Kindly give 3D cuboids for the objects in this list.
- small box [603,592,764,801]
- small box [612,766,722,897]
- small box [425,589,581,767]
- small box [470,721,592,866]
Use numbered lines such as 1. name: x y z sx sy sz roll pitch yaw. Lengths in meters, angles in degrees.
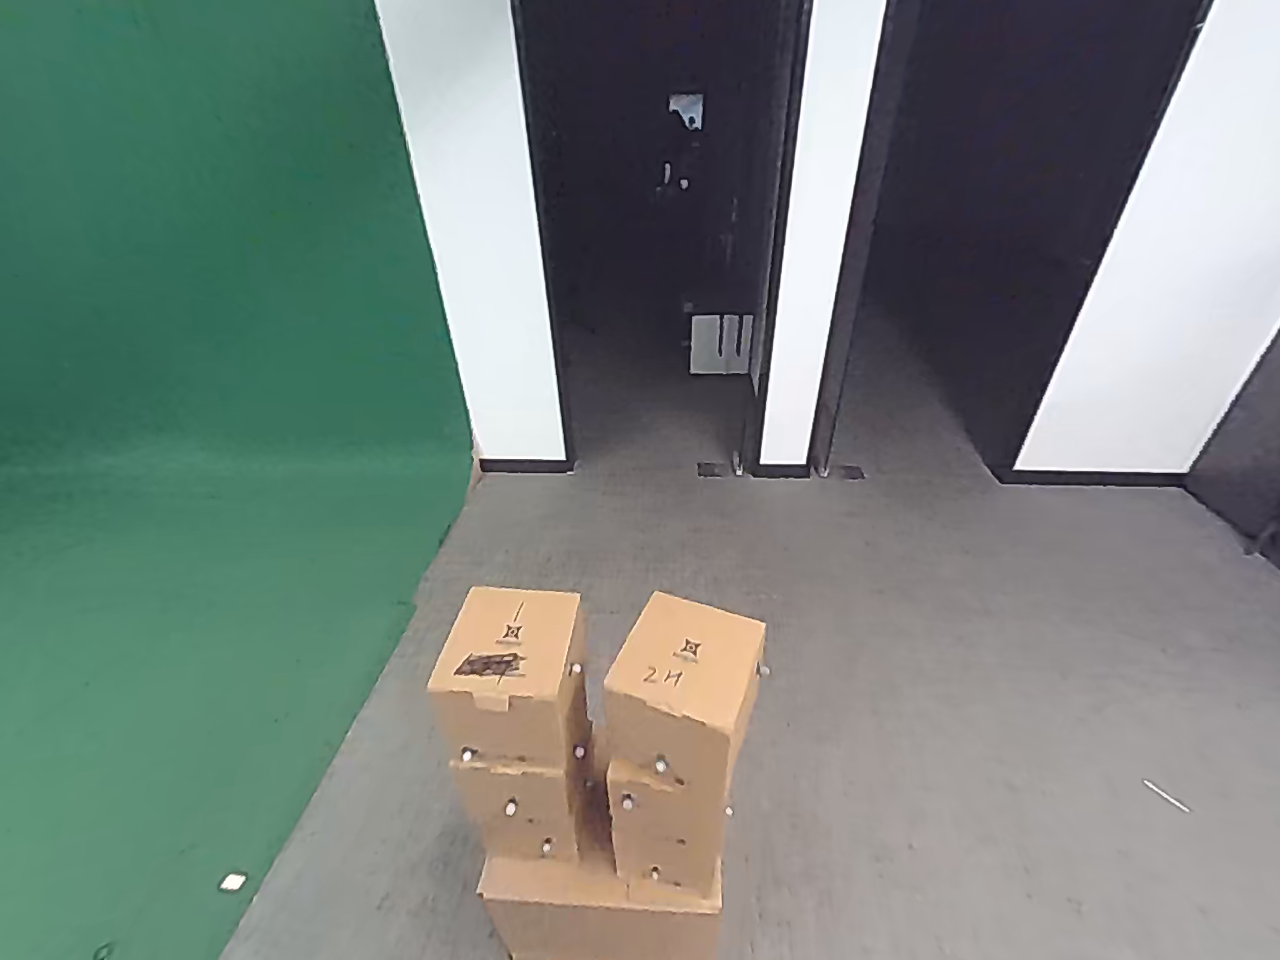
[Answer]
1. small box: 0.062 0.290 0.740 0.168 0.176 0.179 12 36 20
2. small box: 0.053 0.564 0.924 0.168 0.176 0.179 5 35 10
3. small box: -0.178 0.280 0.769 0.168 0.176 0.179 3 33 3
4. small box: -0.179 0.549 0.958 0.168 0.176 0.179 4 34 5
